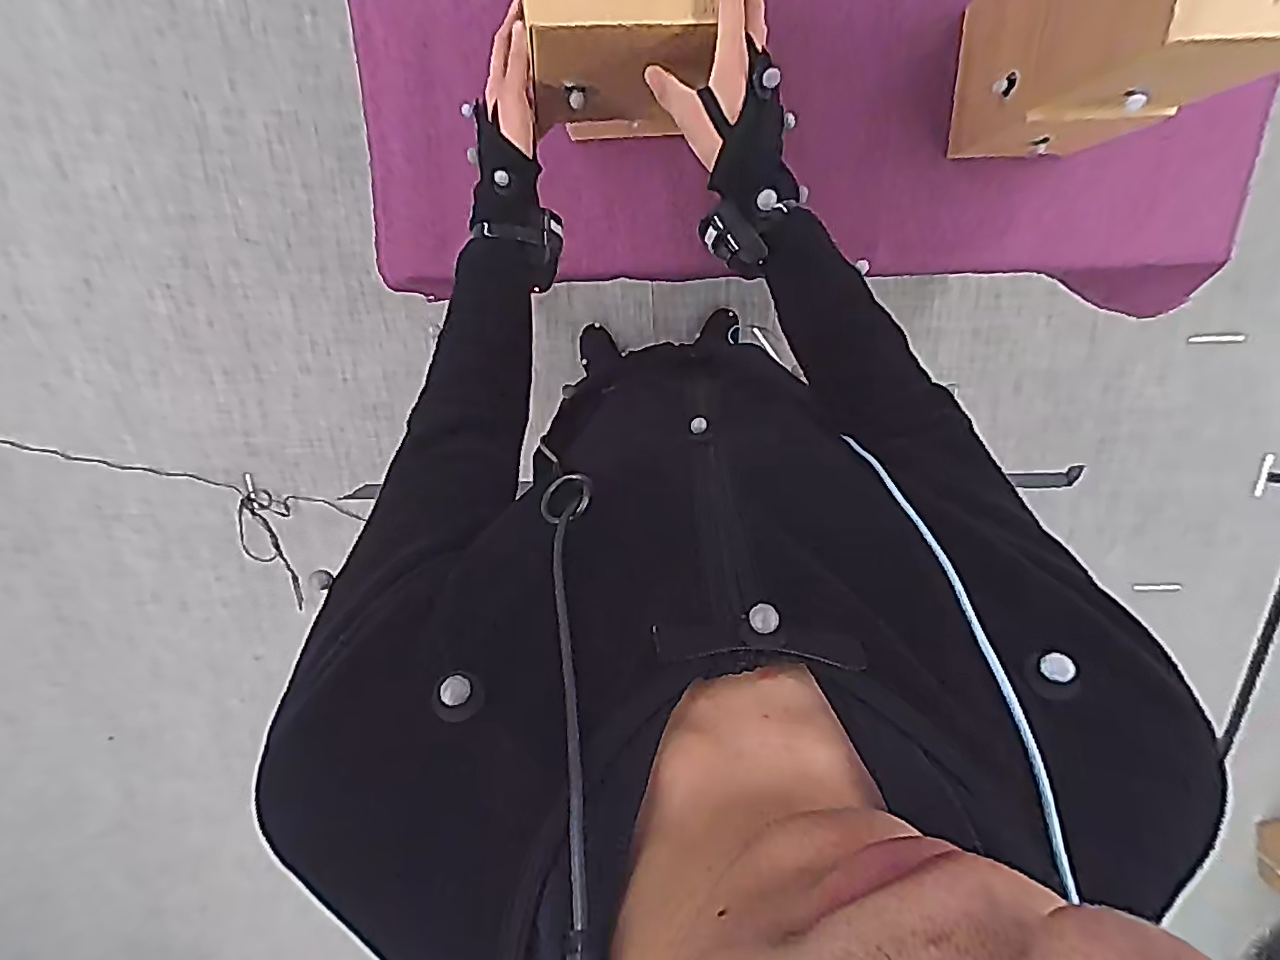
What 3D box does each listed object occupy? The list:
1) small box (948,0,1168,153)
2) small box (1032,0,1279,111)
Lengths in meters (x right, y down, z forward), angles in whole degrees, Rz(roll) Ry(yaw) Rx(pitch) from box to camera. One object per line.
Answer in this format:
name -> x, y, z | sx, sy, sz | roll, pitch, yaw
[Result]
small box -> 0.502, -0.508, 0.650 | 0.168, 0.176, 0.179 | -1, 108, 0
small box -> 0.503, -0.465, 0.492 | 0.168, 0.176, 0.179 | -1, 109, 1
